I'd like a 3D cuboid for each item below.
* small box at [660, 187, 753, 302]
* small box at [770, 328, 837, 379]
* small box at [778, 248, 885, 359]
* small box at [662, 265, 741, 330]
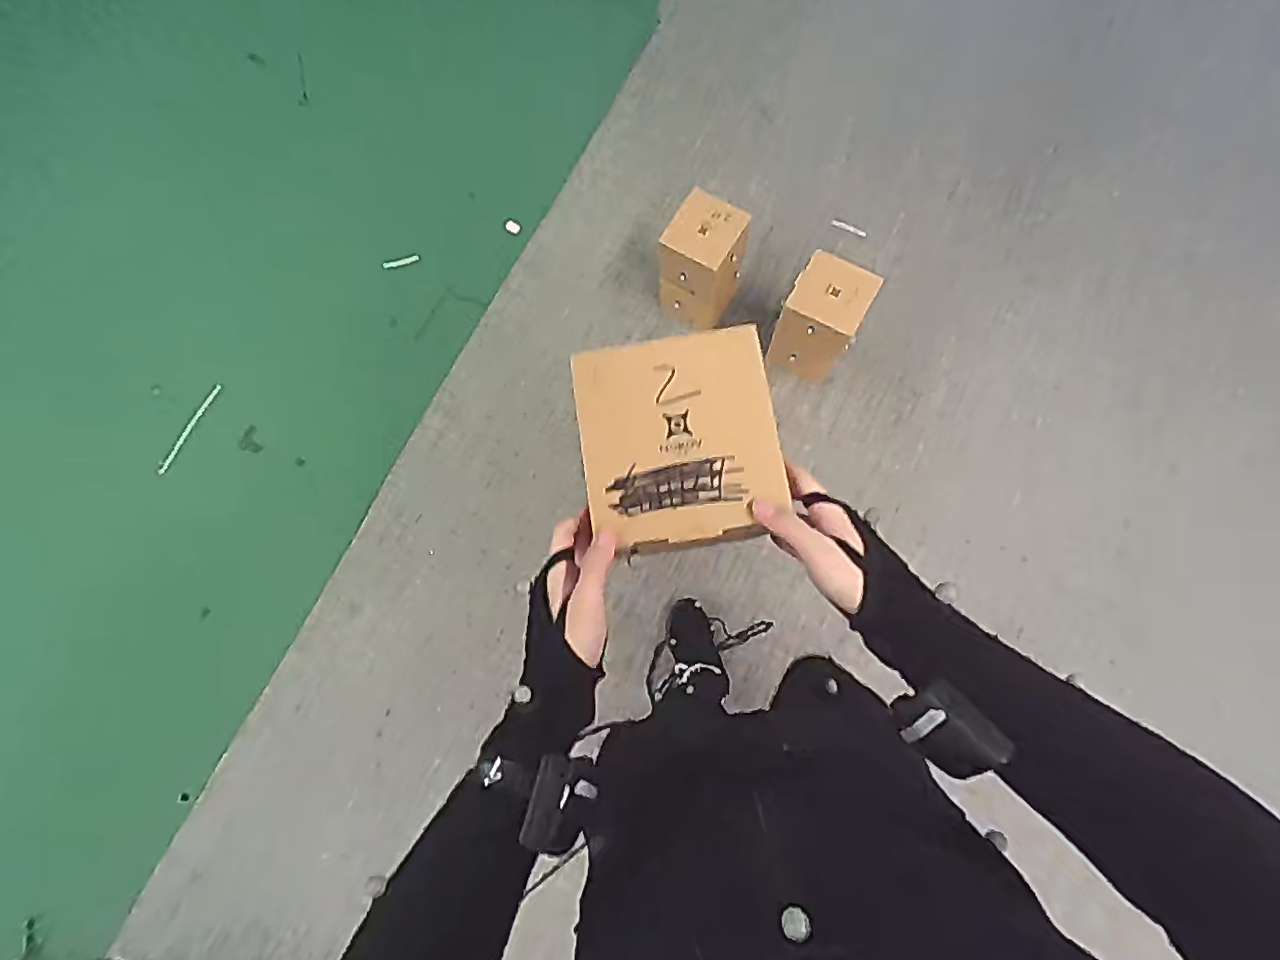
[{"bbox_3d":[0.170,-0.595,1.389,0.168,0.176,0.179,32,82,10],"label":"small box"},{"bbox_3d":[0.477,-0.402,1.490,0.179,0.176,0.168,28,83,10],"label":"small box"},{"bbox_3d":[0.459,-0.424,1.329,0.179,0.176,0.168,30,83,9],"label":"small box"},{"bbox_3d":[0.180,-0.564,1.550,0.168,0.176,0.179,30,82,10],"label":"small box"}]
